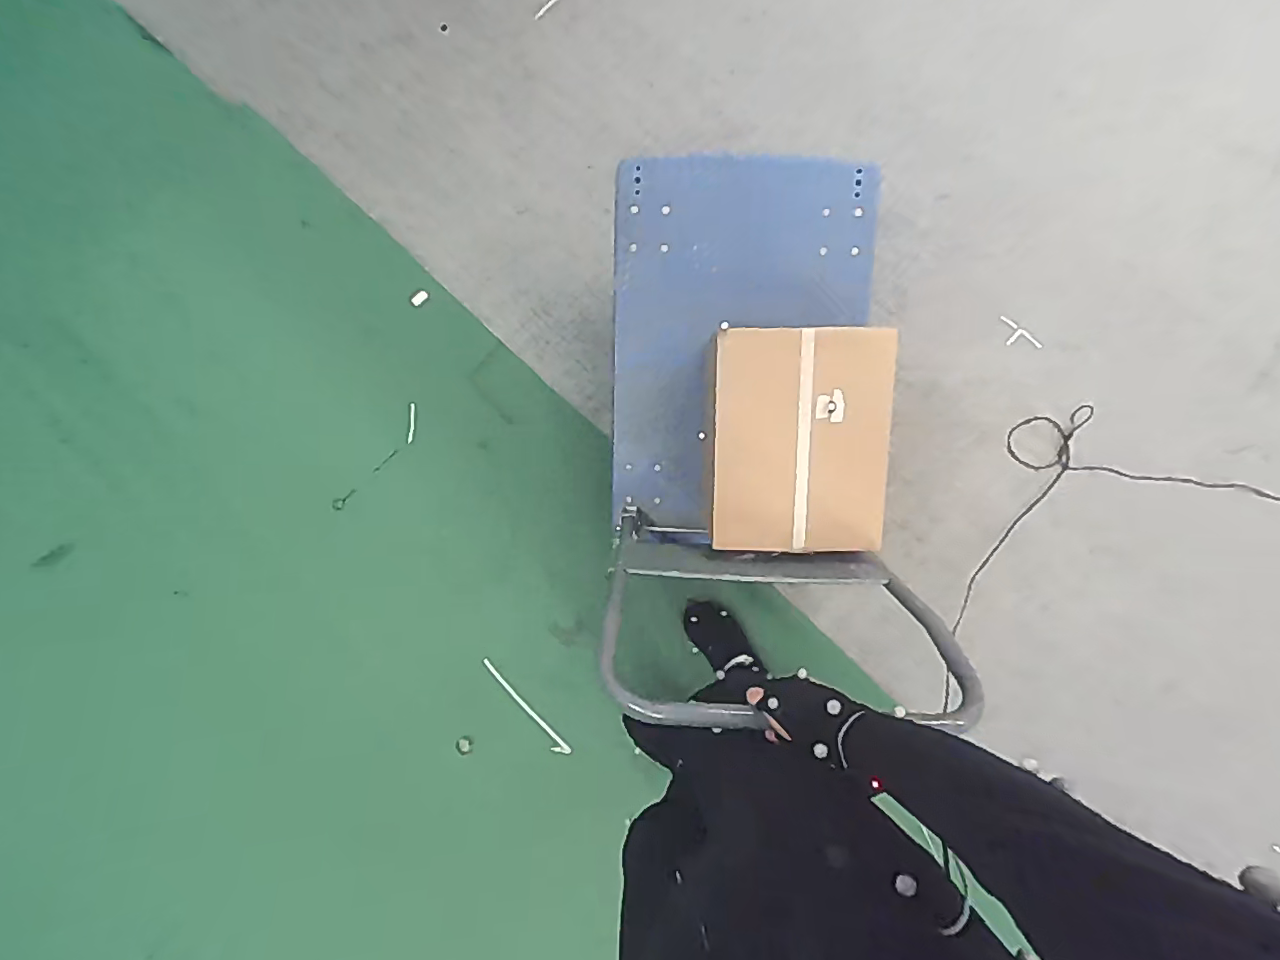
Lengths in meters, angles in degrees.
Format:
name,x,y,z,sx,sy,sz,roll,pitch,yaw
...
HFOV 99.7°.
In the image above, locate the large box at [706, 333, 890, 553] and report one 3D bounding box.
name,x,y,z,sx,sy,sz,roll,pitch,yaw
large box,0.302,-0.080,1.135,0.320,0.320,0.408,-1,98,2
